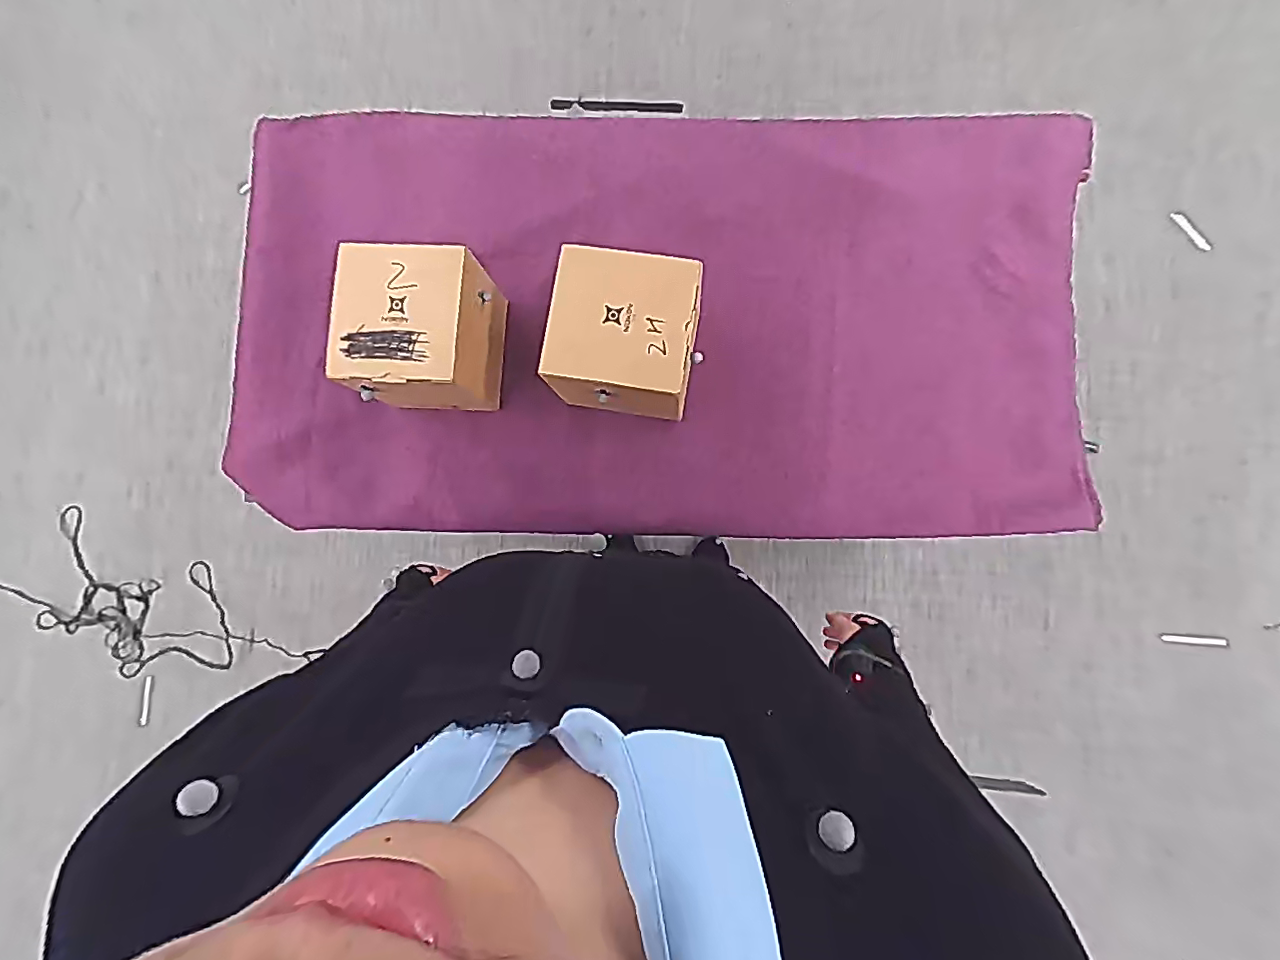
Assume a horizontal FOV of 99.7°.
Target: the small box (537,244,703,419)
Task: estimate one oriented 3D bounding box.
[{"bbox_3d":[-0.019,-0.186,0.722,0.179,0.176,0.168,10,86,5],"label":"small box"}]
